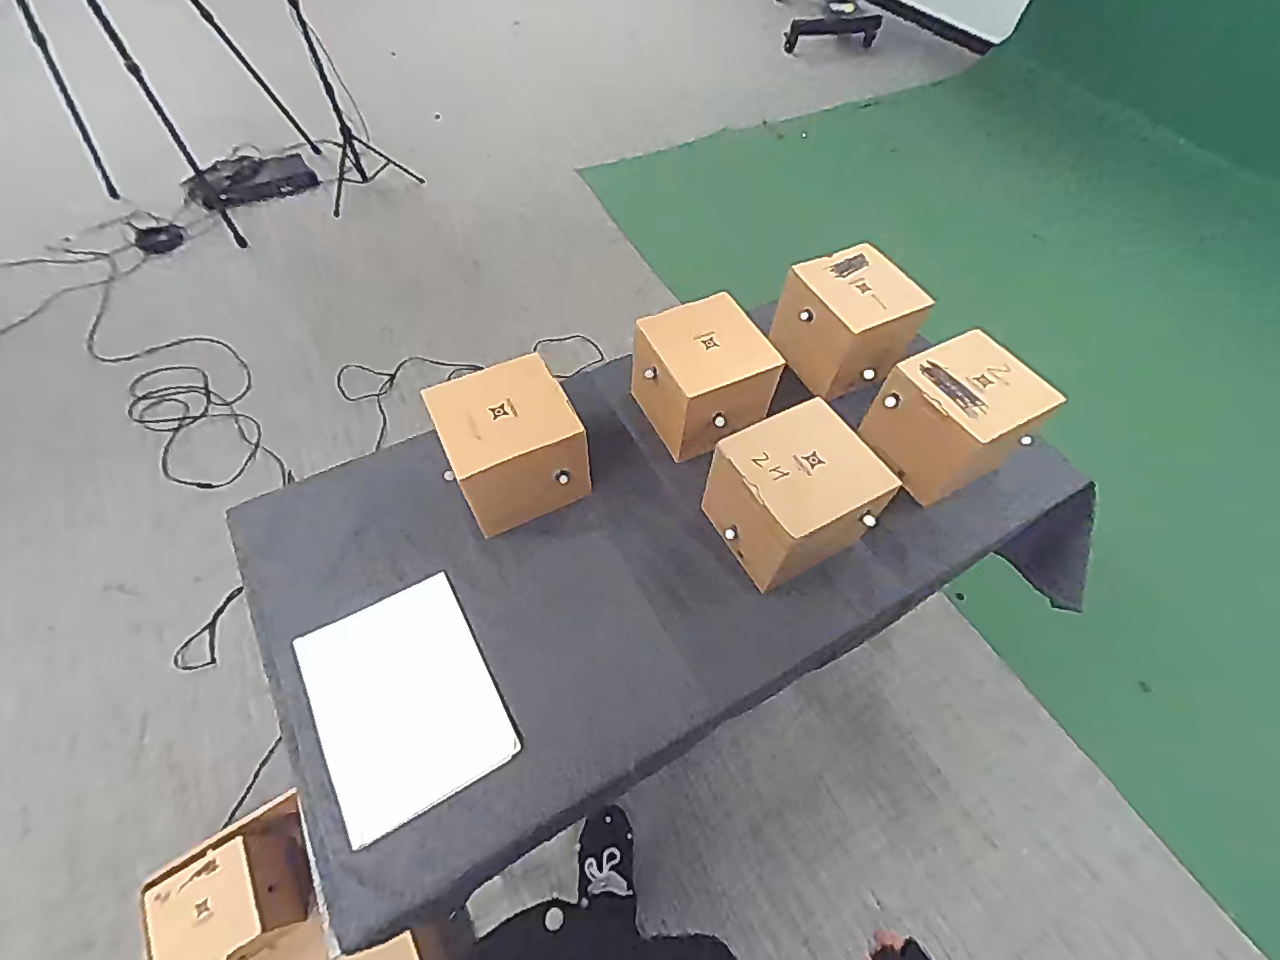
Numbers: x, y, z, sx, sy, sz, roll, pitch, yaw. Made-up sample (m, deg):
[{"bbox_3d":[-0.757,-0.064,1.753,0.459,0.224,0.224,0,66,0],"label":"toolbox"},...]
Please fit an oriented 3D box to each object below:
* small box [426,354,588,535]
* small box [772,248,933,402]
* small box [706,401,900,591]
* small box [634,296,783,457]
[{"bbox_3d":[-0.186,-0.048,0.790,0.179,0.176,0.168,-22,61,-16],"label":"small box"},{"bbox_3d":[0.357,-0.269,0.949,0.168,0.176,0.179,-22,61,-15],"label":"small box"},{"bbox_3d":[0.211,0.025,0.755,0.179,0.176,0.168,-24,60,-16],"label":"small box"},{"bbox_3d":[0.100,-0.158,0.873,0.168,0.176,0.179,-22,60,-15],"label":"small box"}]
